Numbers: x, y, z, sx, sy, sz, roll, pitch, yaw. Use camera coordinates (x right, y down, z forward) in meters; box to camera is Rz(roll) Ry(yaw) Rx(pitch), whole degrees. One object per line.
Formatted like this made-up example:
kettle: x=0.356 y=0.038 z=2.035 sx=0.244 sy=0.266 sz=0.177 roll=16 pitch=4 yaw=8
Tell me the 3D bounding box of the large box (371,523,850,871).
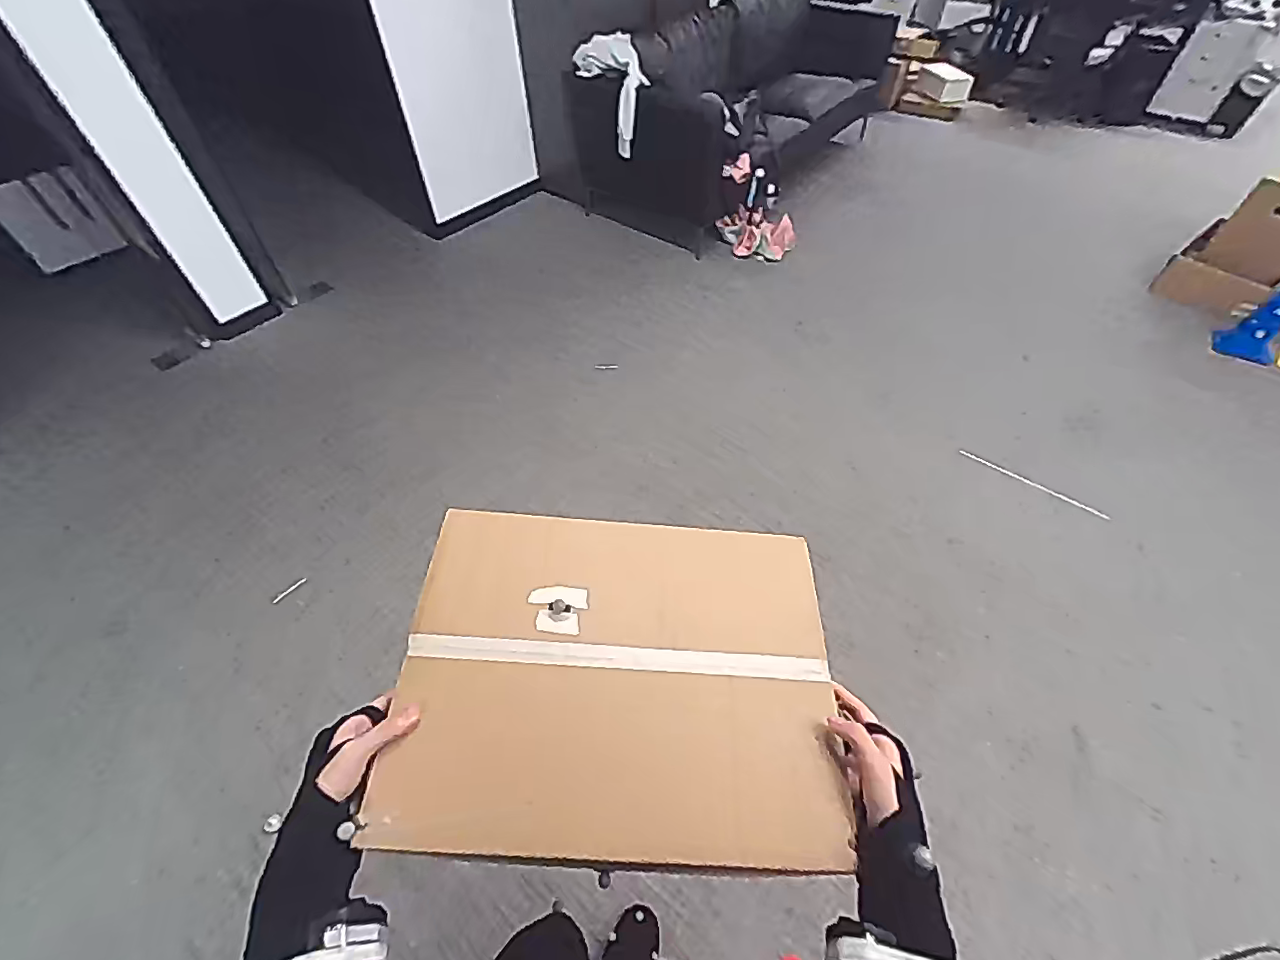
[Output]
large box: x=-0.024 y=0.272 z=0.649 sx=0.408 sy=0.320 sz=0.320 roll=5 pitch=53 yaw=-2
